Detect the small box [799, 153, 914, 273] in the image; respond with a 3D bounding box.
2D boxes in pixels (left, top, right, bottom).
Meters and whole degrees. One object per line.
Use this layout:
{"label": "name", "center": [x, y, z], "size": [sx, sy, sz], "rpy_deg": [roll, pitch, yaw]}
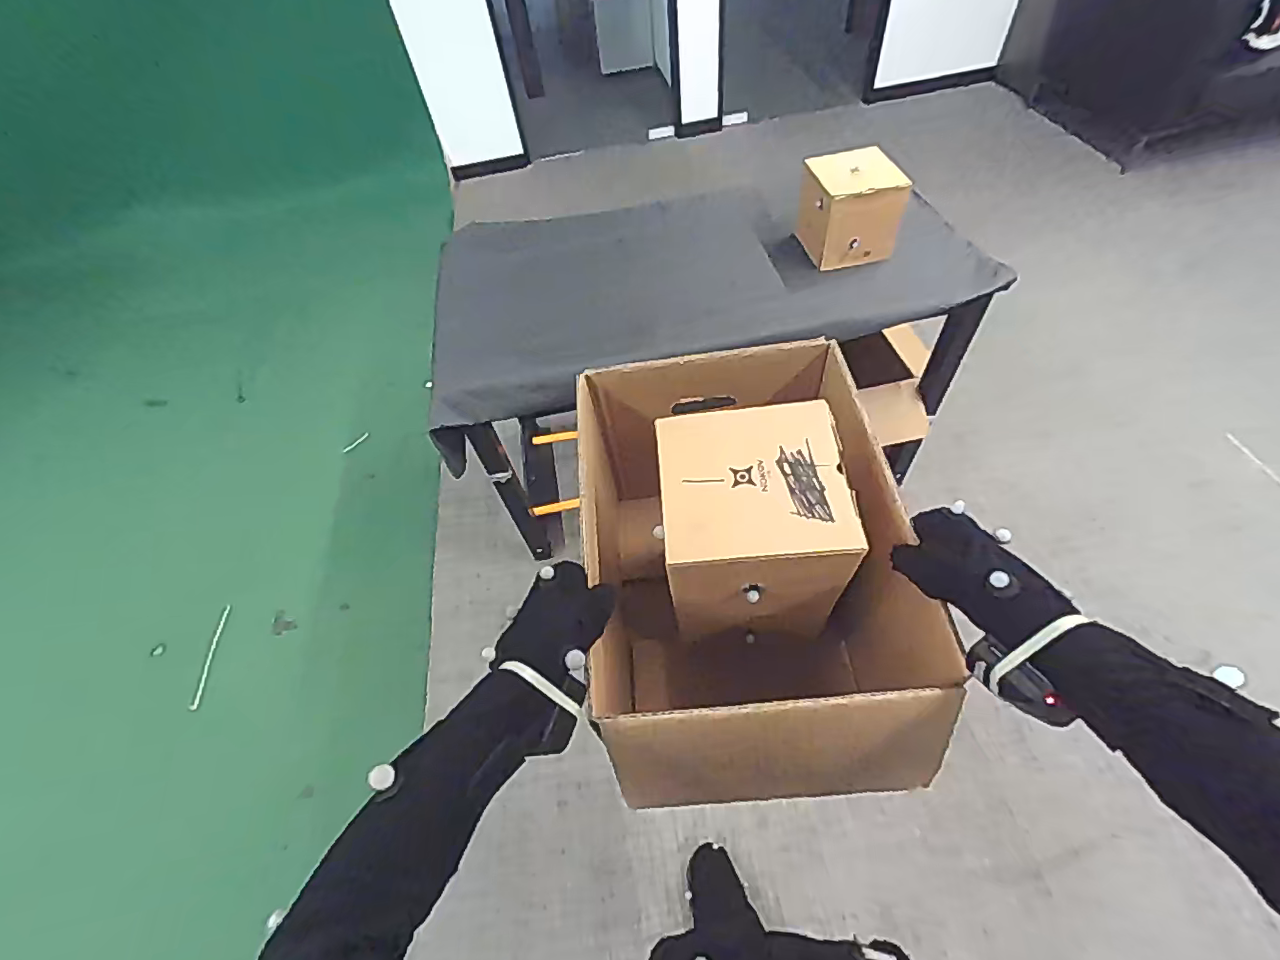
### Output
{"label": "small box", "center": [0.462, -0.585, 1.191], "size": [0.168, 0.176, 0.179], "rpy_deg": [-11, 53, -1]}
